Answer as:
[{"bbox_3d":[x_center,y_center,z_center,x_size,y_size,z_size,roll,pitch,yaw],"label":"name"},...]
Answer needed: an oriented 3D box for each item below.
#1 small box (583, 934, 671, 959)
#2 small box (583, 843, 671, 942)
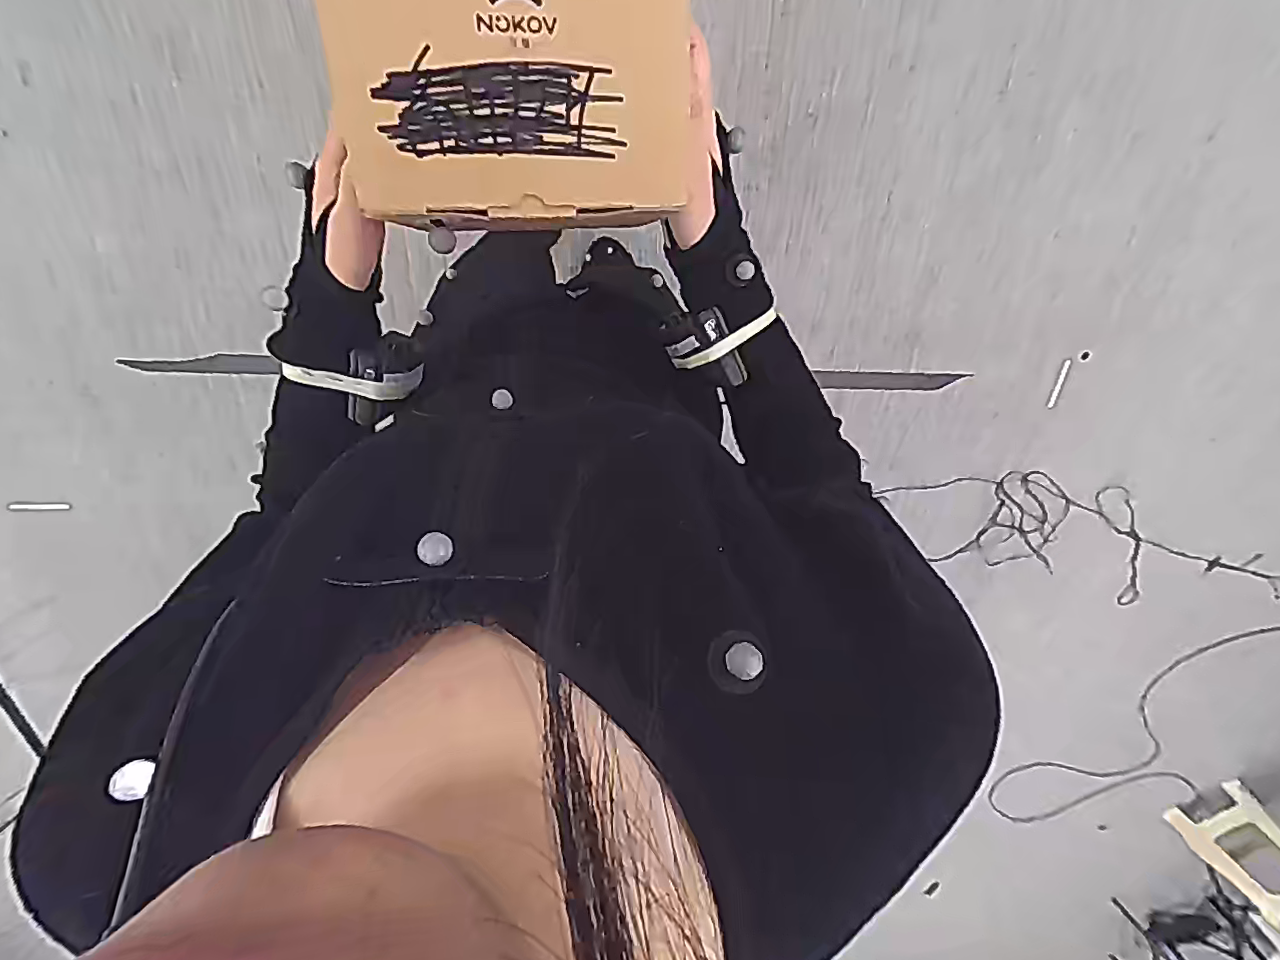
[{"bbox_3d":[-0.022,0.963,0.977,0.168,0.176,0.179,0,118,-5],"label":"small box"},{"bbox_3d":[-0.034,0.883,1.120,0.168,0.176,0.179,1,117,-5],"label":"small box"}]
